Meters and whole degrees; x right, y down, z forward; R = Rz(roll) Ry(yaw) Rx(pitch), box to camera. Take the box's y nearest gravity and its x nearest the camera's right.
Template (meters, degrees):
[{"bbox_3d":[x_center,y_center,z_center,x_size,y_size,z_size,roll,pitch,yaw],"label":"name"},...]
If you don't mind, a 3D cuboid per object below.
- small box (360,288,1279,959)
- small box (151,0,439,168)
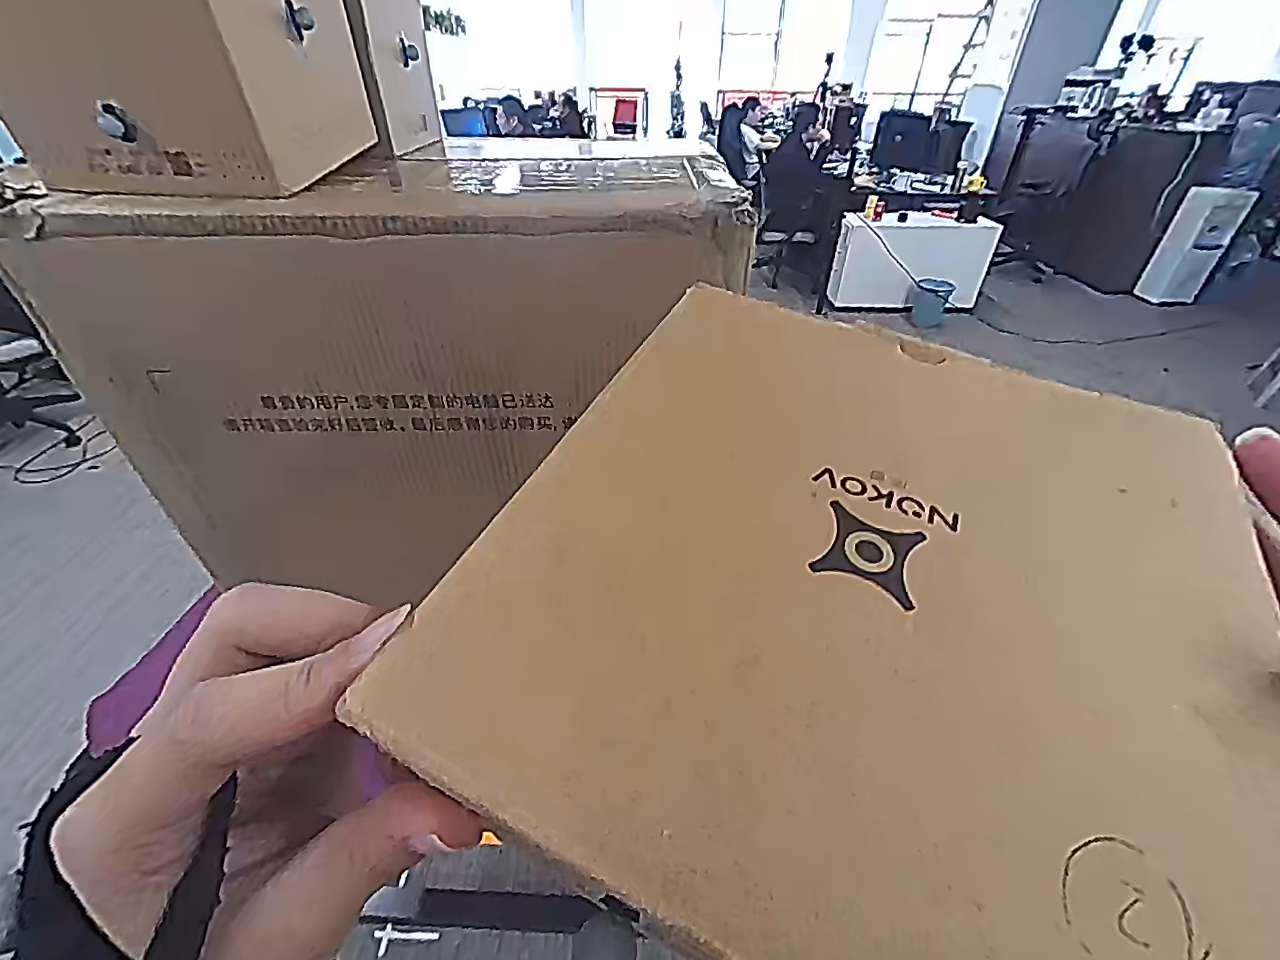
[{"bbox_3d":[0.054,0.066,0.189,0.168,0.176,0.179,21,51,16],"label":"small box"},{"bbox_3d":[-0.313,-0.410,0.523,0.179,0.176,0.168,0,37,-1],"label":"small box"}]
